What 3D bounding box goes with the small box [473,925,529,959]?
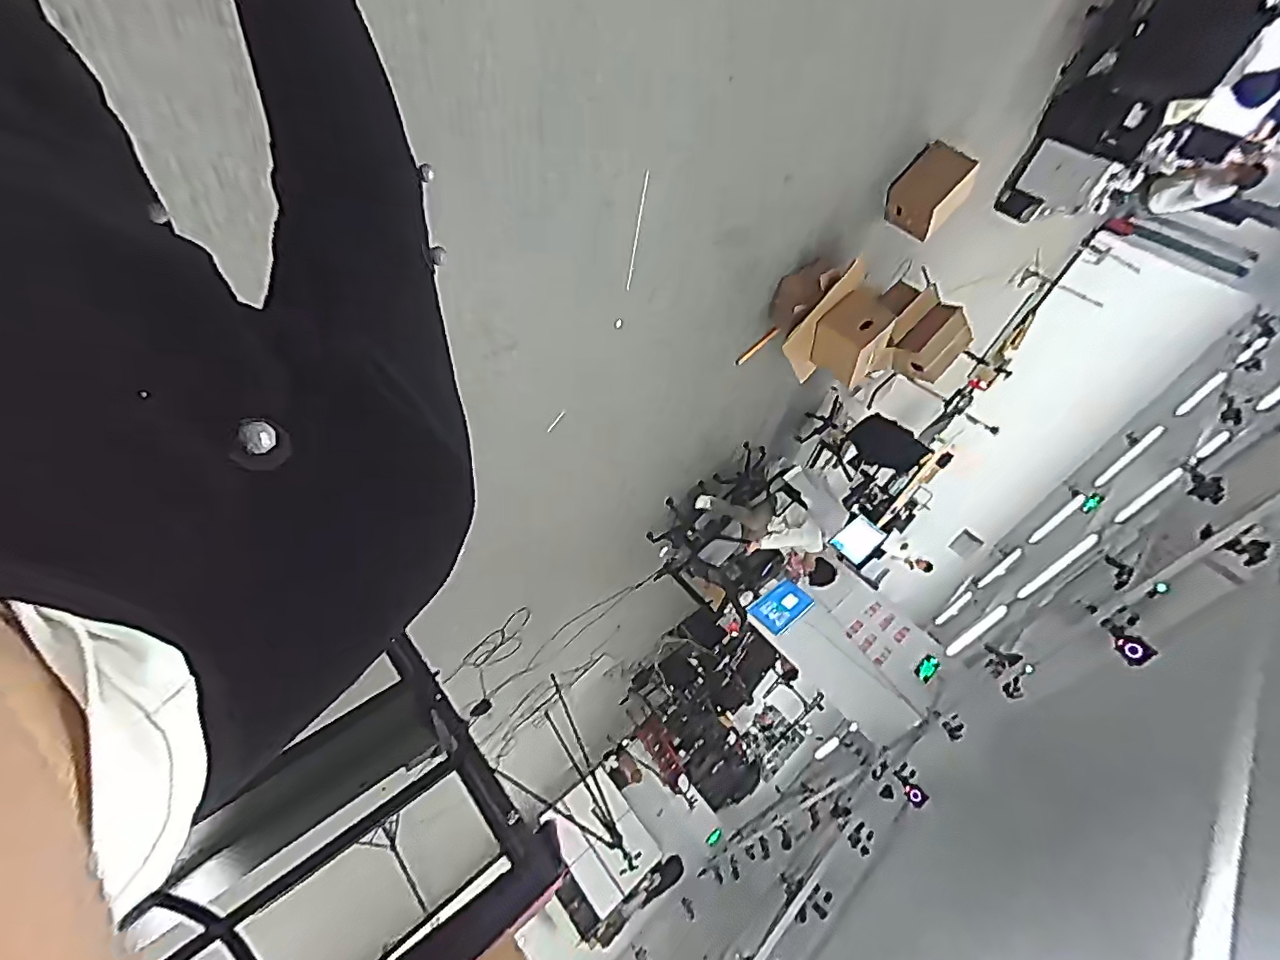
[{"bbox_3d":[-0.398,1.402,1.509,0.179,0.176,0.168,-28,150,-34],"label":"small box"}]
